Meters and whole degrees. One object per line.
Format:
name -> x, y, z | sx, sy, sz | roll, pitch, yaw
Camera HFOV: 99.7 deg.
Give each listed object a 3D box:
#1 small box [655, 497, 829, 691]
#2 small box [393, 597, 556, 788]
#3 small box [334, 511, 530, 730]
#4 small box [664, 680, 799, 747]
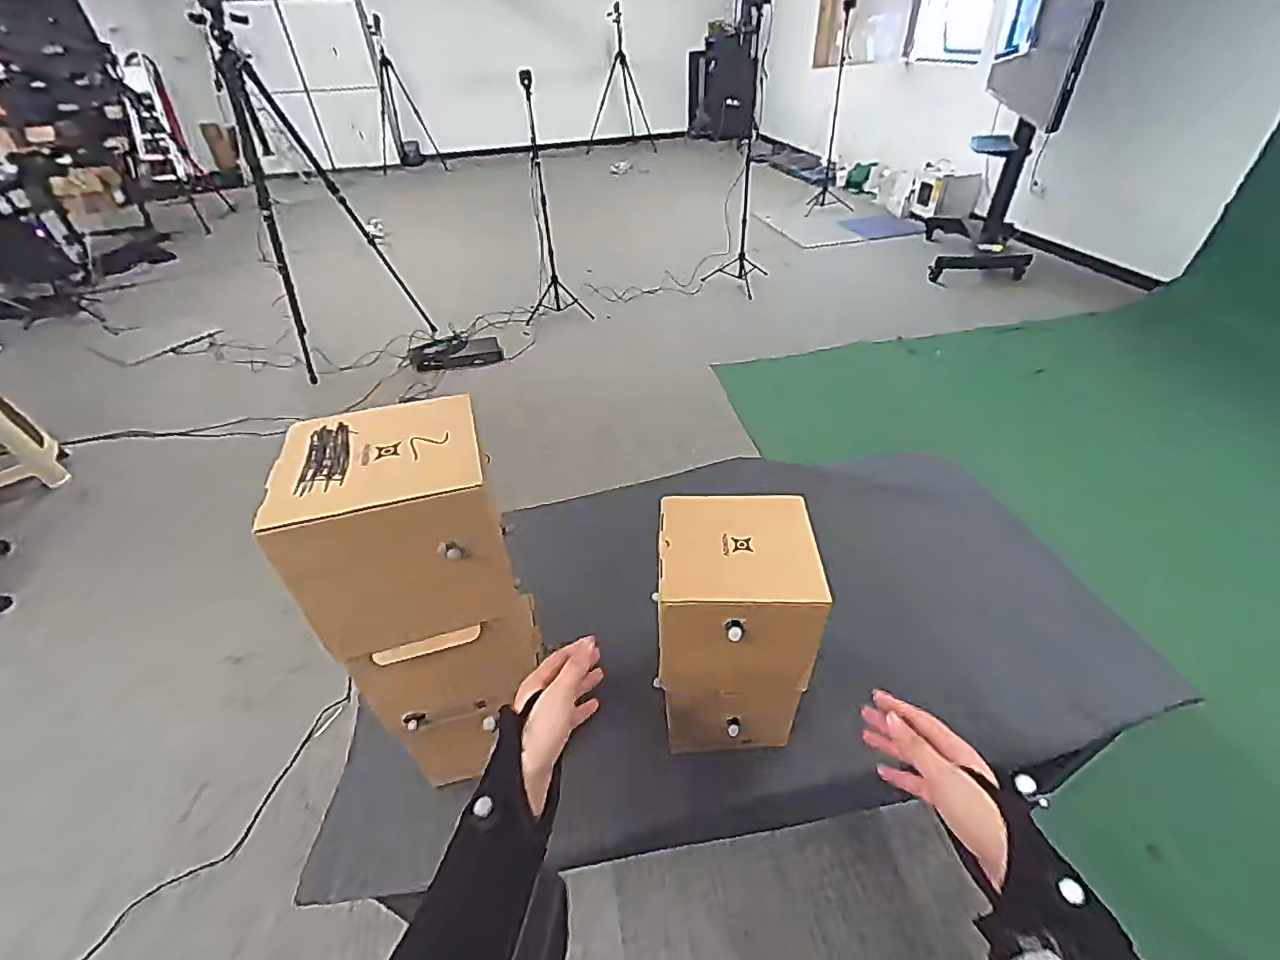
small box -> 0.110, 0.137, 0.651 | 0.179, 0.176, 0.168 | -2, 39, 5
small box -> -0.216, 0.293, 0.750 | 0.179, 0.176, 0.168 | -12, 39, -8
small box -> -0.235, 0.169, 0.643 | 0.168, 0.176, 0.179 | -13, 39, -12
small box -> 0.114, 0.257, 0.762 | 0.168, 0.176, 0.179 | -5, 40, 0
